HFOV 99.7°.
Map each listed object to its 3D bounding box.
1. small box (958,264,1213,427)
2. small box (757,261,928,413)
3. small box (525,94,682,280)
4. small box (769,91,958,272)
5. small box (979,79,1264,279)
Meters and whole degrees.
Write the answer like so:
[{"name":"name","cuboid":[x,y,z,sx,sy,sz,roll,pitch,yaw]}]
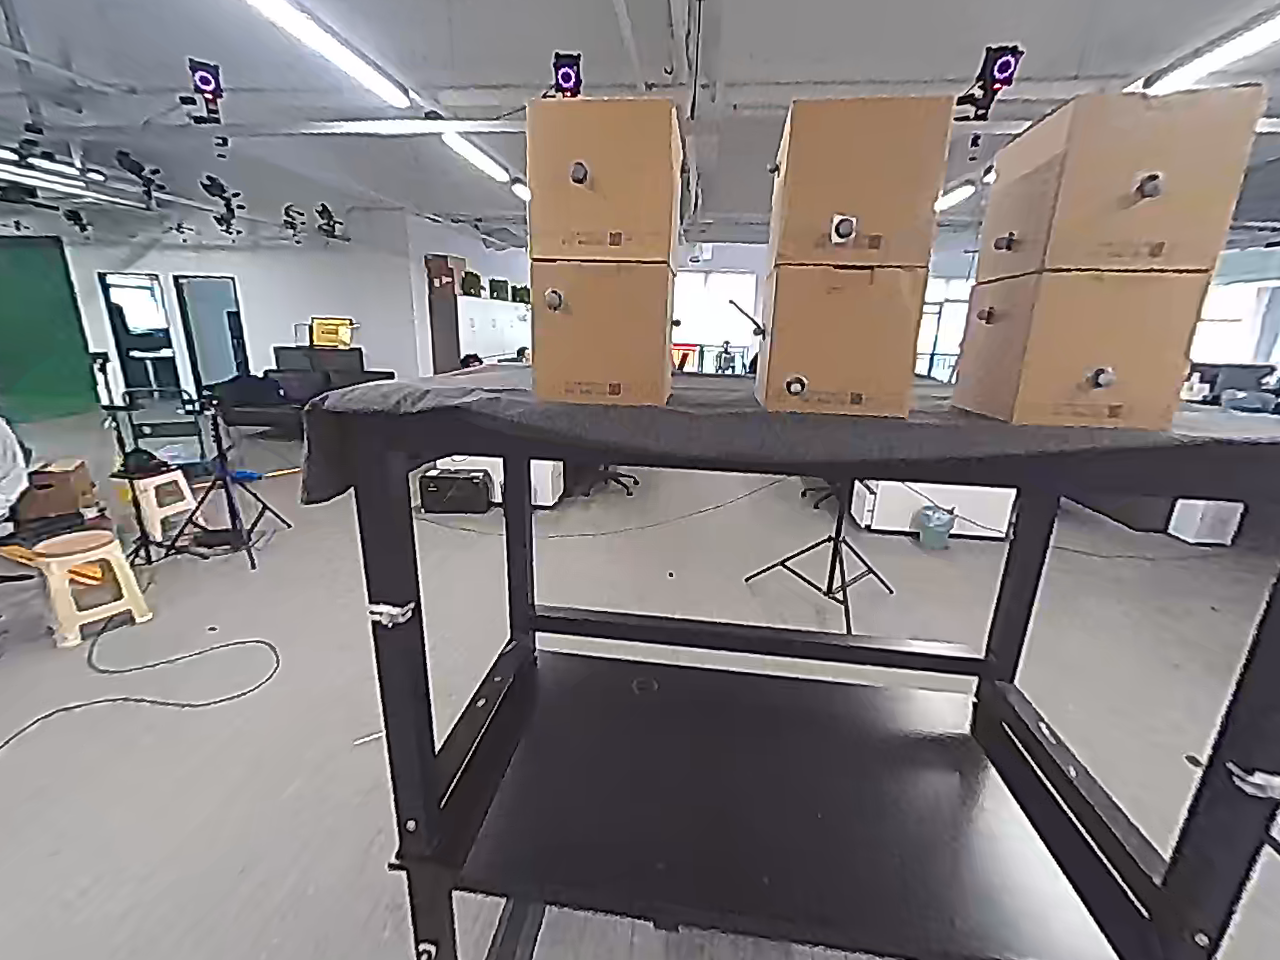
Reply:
[{"name":"small box","cuboid":[0.518,-0.164,0.663,0.168,0.176,0.179,3,15,8]},{"name":"small box","cuboid":[0.245,-0.180,0.695,0.168,0.176,0.179,4,14,7]},{"name":"small box","cuboid":[-0.036,-0.352,0.681,0.168,0.176,0.179,3,14,6]},{"name":"small box","cuboid":[0.251,-0.337,0.656,0.168,0.176,0.179,3,15,8]},{"name":"small box","cuboid":[0.523,-0.323,0.621,0.168,0.176,0.179,4,16,9]}]
